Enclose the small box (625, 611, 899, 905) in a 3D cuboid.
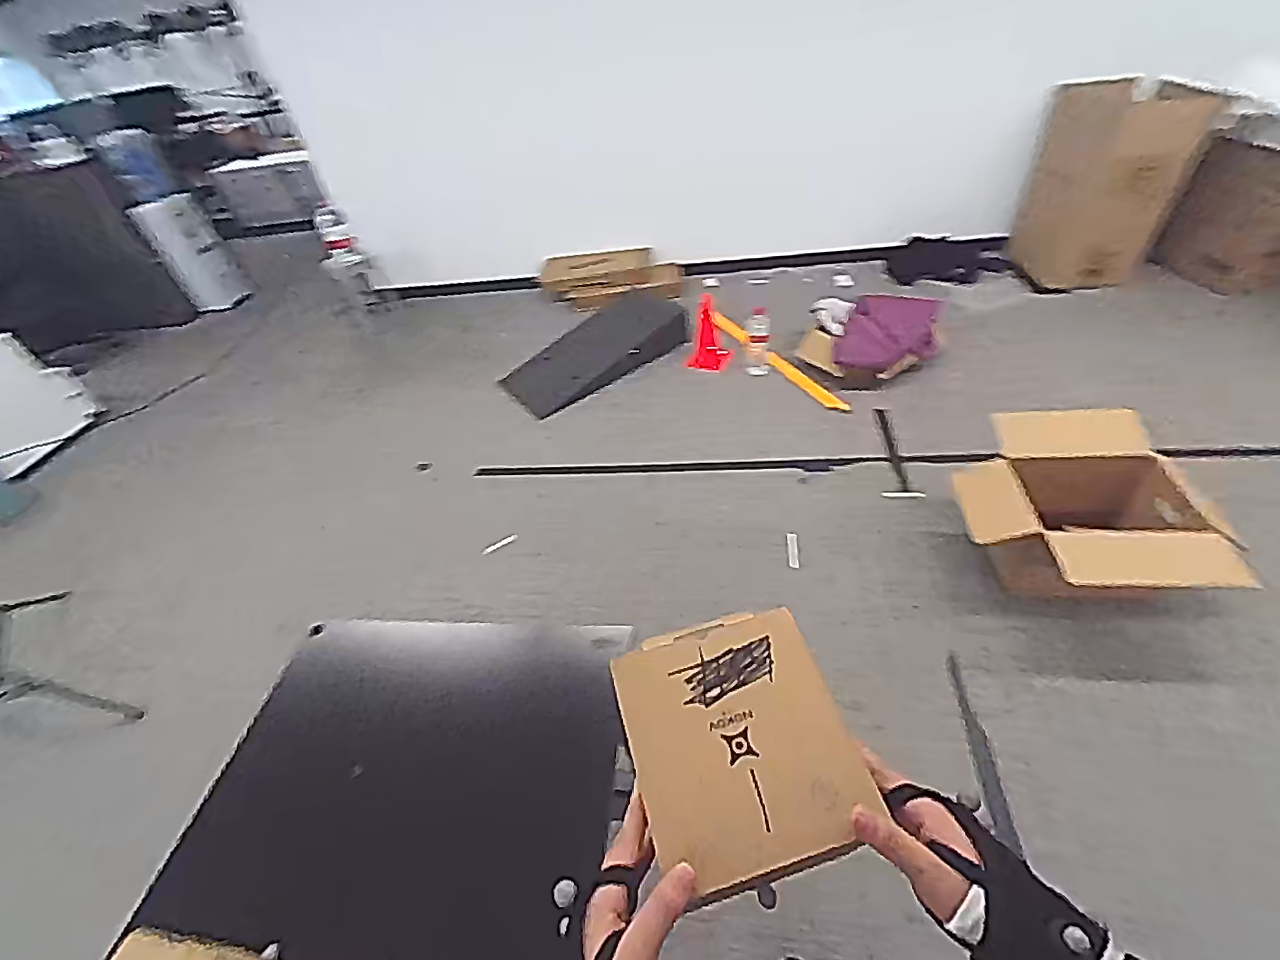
[{"bbox_3d":[0.090,0.250,0.485,0.168,0.176,0.179,-15,50,-5],"label":"small box"}]
